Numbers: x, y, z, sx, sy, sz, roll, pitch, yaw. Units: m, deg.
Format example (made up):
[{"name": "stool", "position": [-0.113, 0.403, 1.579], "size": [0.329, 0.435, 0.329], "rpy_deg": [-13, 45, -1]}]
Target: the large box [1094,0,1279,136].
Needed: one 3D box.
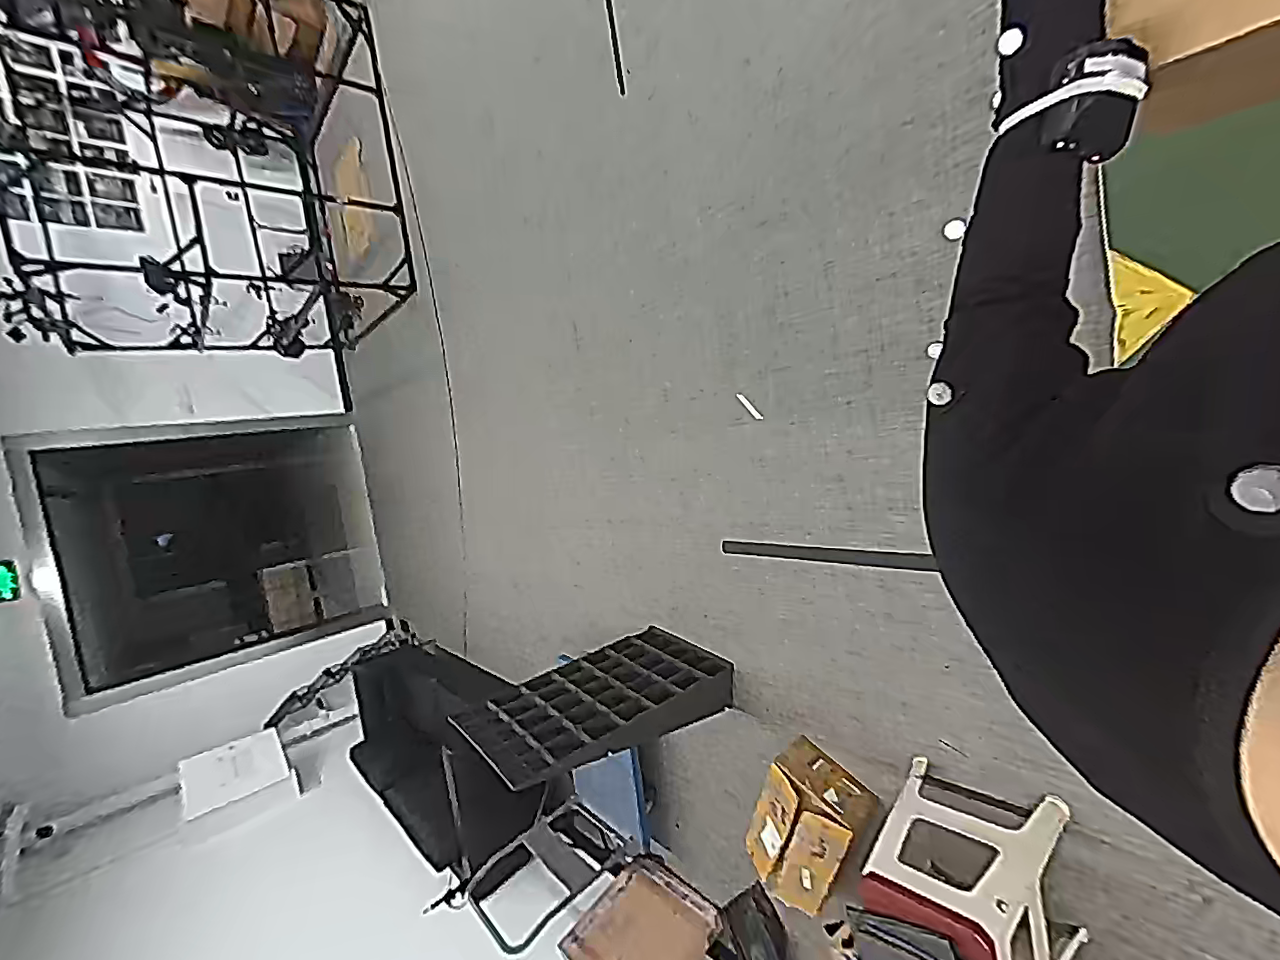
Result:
[{"name": "large box", "position": [0.573, -0.493, 0.347], "size": [0.408, 0.320, 0.320], "rpy_deg": [3, 108, 49]}]
